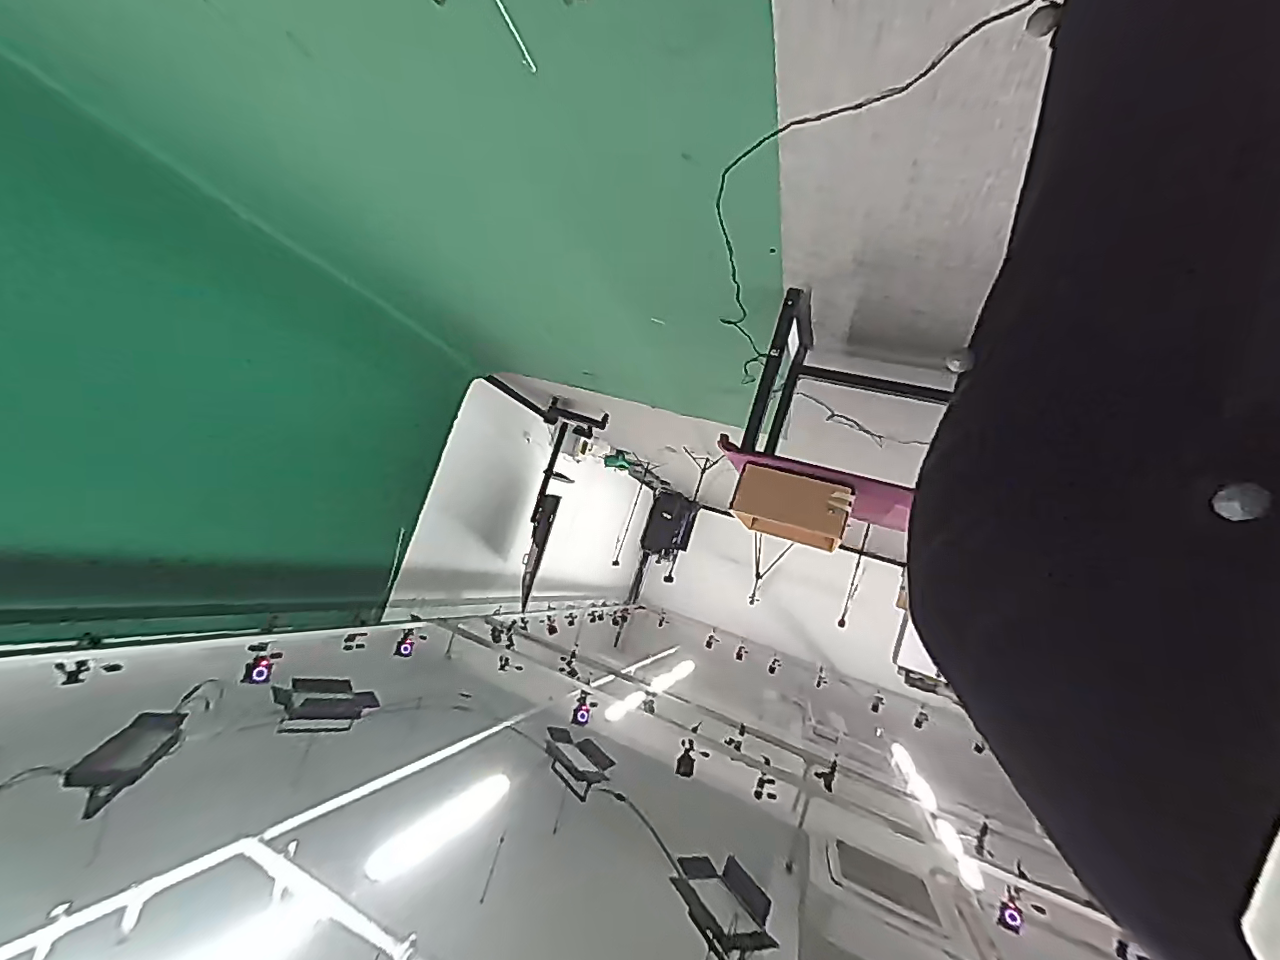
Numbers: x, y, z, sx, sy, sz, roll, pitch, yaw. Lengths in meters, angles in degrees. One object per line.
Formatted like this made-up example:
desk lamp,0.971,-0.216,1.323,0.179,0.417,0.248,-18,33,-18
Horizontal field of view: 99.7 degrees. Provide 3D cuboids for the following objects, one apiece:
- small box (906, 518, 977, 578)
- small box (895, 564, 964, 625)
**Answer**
small box,1.050,0.237,1.887,0.179,0.176,0.168,16,174,22
small box,1.003,0.393,1.876,0.168,0.176,0.179,16,174,21
